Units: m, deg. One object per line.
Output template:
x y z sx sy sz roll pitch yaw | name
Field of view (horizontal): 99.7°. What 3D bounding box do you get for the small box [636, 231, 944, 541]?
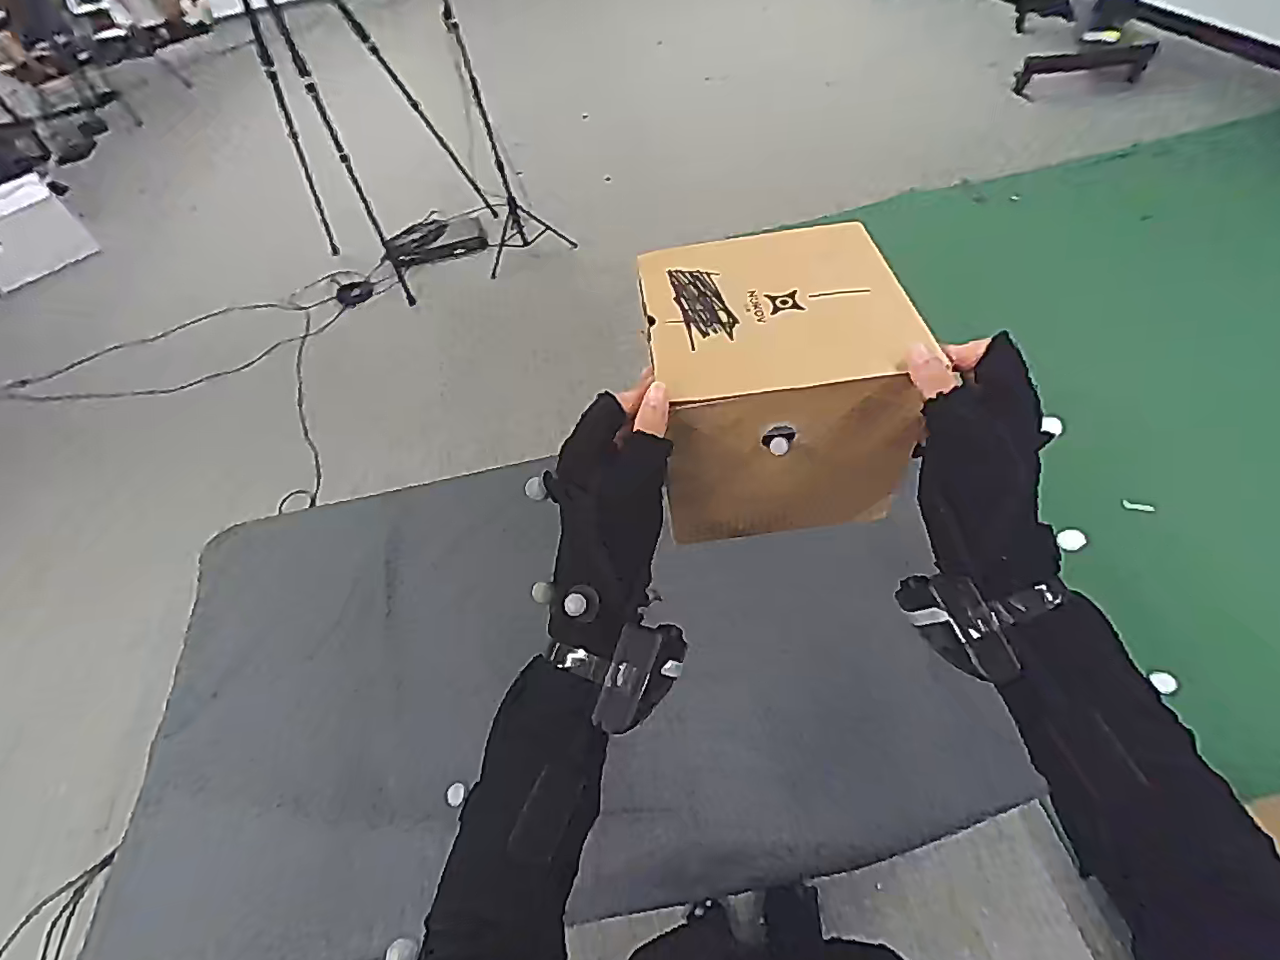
0.098 -0.065 0.429 0.179 0.176 0.168 -7 53 3 | small box
